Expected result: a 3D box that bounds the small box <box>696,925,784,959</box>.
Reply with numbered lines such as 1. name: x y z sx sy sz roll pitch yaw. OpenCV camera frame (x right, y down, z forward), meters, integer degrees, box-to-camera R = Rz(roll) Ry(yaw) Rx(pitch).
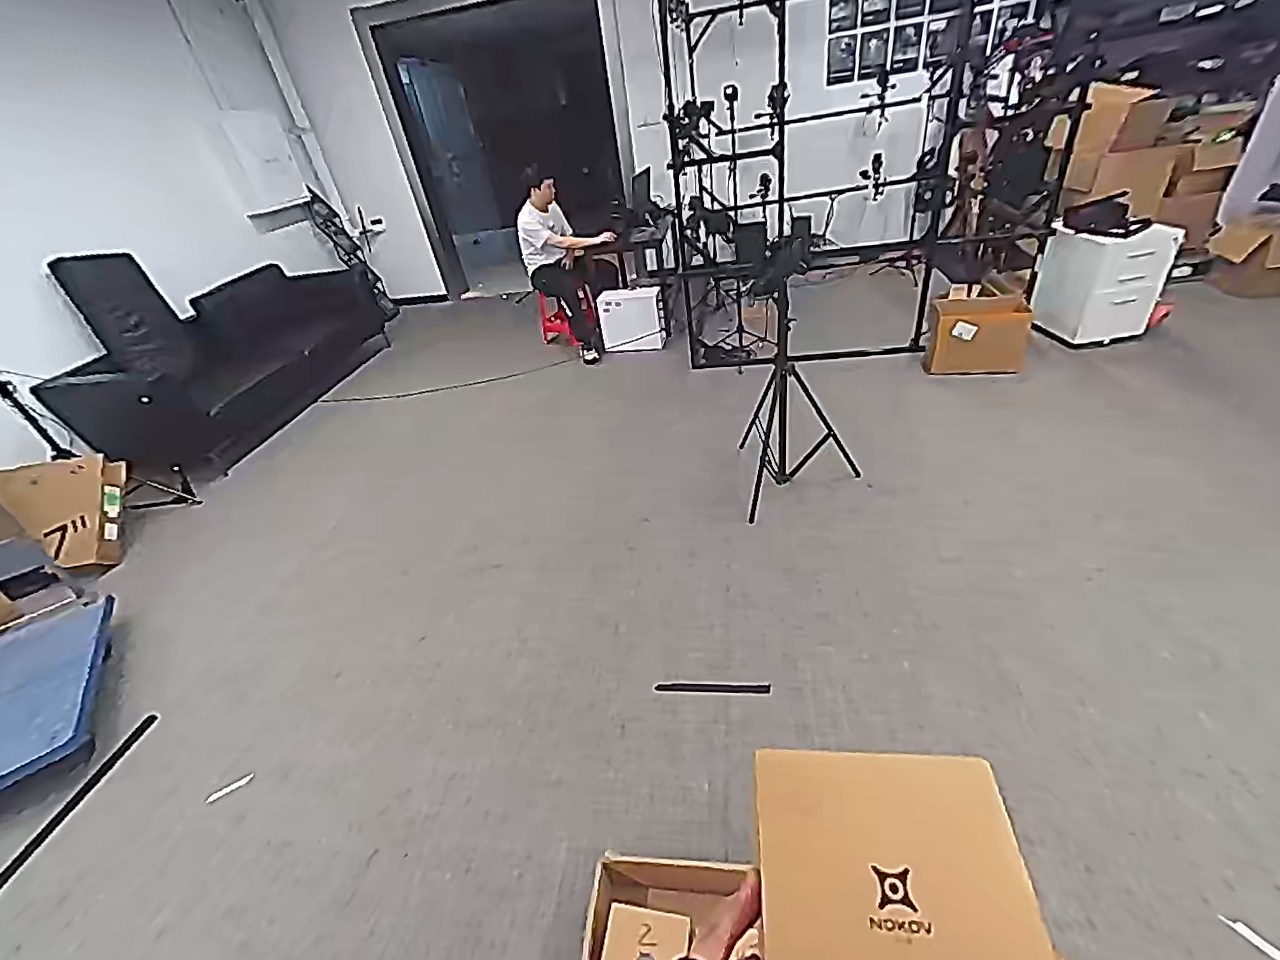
1. small box: 0.197 0.988 1.035 0.168 0.176 0.179 -4 35 7
